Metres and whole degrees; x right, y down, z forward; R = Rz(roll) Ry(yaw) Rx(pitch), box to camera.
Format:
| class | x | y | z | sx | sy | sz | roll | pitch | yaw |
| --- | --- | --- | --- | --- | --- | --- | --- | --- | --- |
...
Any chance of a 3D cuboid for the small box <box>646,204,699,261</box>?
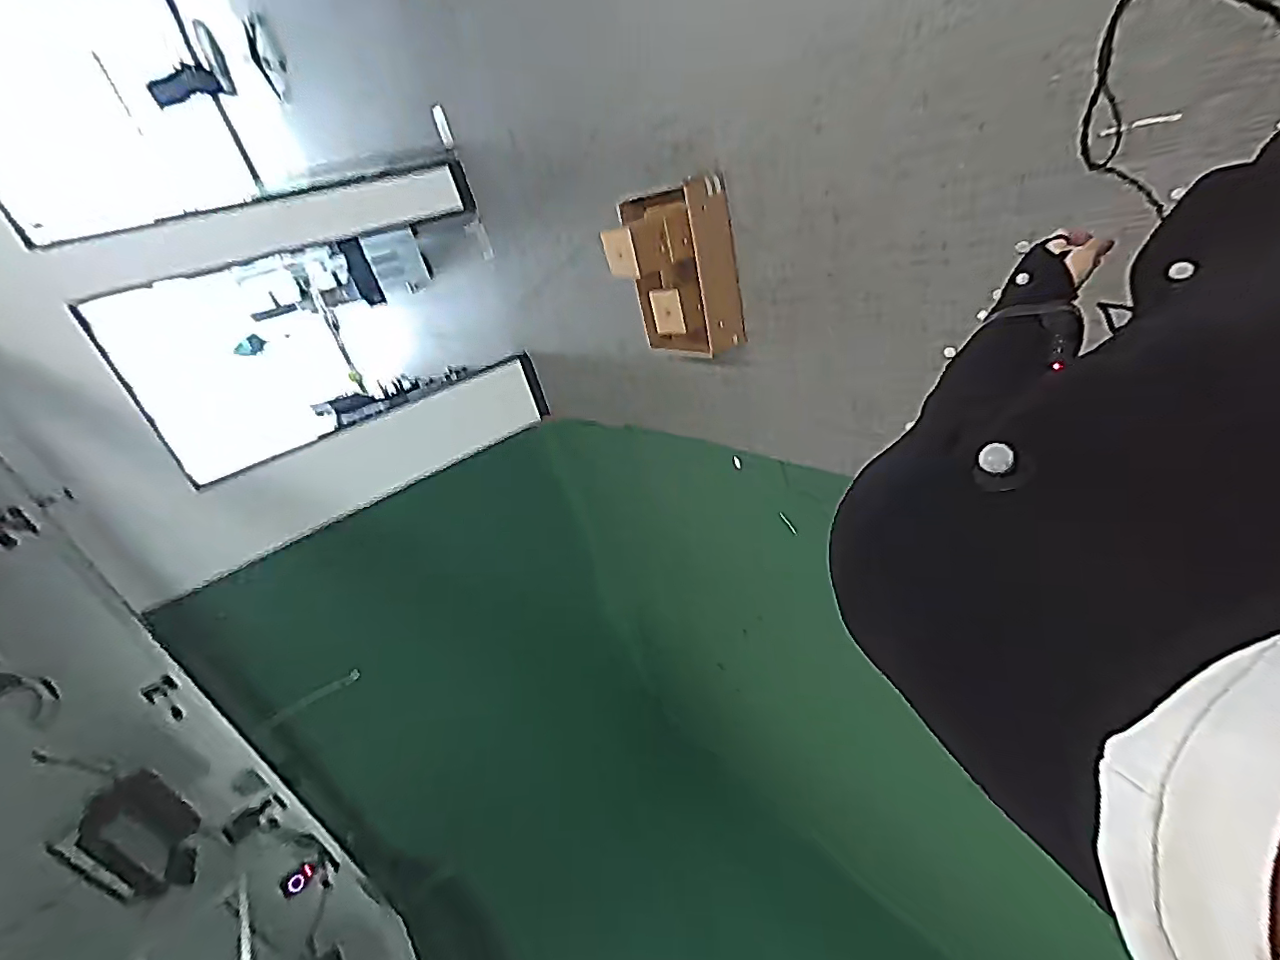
| class | x | y | z | sx | sy | sz | roll | pitch | yaw |
| --- | --- | --- | --- | --- | --- | --- | --- | --- | --- |
| small box | 0.108 | -0.935 | 2.052 | 0.179 | 0.176 | 0.168 | 19 | 133 | 49 |

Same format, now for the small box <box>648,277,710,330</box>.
| class | x | y | z | sx | sy | sz | roll | pitch | yaw |
| --- | --- | --- | --- | --- | --- | --- | --- | --- | --- |
| small box | 0.164 | -0.709 | 2.171 | 0.179 | 0.176 | 0.168 | 19 | 131 | 48 |

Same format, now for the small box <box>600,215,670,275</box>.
| class | x | y | z | sx | sy | sz | roll | pitch | yaw |
| --- | --- | --- | --- | --- | --- | --- | --- | --- | --- |
| small box | -0.016 | -0.858 | 1.977 | 0.179 | 0.176 | 0.168 | 22 | 136 | 47 |
